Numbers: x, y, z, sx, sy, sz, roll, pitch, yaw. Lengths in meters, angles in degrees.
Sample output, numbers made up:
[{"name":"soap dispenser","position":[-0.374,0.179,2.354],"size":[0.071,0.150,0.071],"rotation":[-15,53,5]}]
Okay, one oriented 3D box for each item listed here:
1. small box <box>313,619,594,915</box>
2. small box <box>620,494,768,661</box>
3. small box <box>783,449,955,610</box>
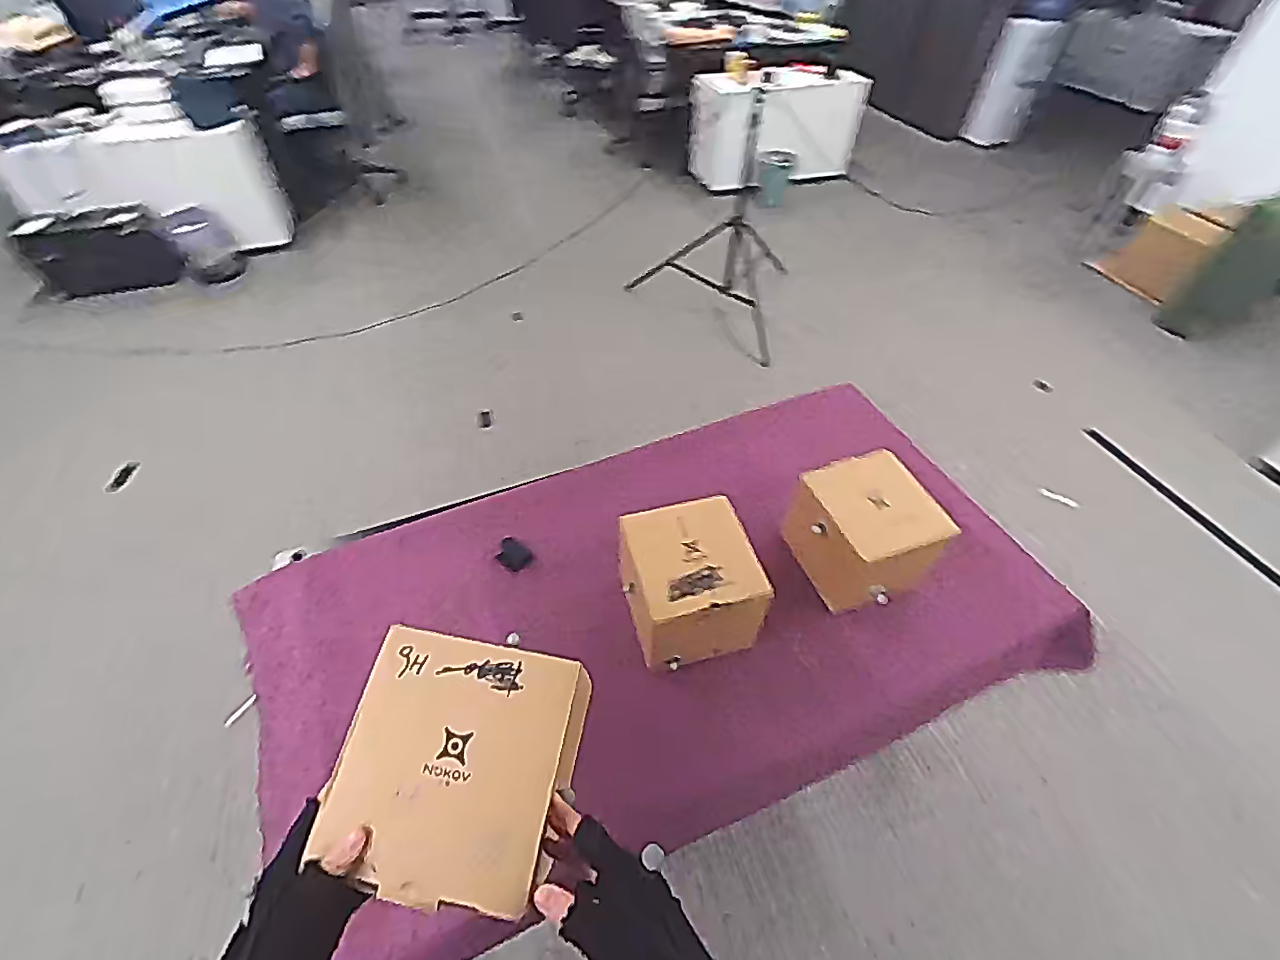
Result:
[{"name":"small box","position":[-0.139,0.241,0.485],"size":[0.168,0.176,0.179],"rotation":[11,65,3]},{"name":"small box","position":[0.071,0.151,0.810],"size":[0.168,0.176,0.179],"rotation":[-11,49,-11]},{"name":"small box","position":[0.355,0.081,0.882],"size":[0.168,0.176,0.179],"rotation":[-16,52,-13]}]
